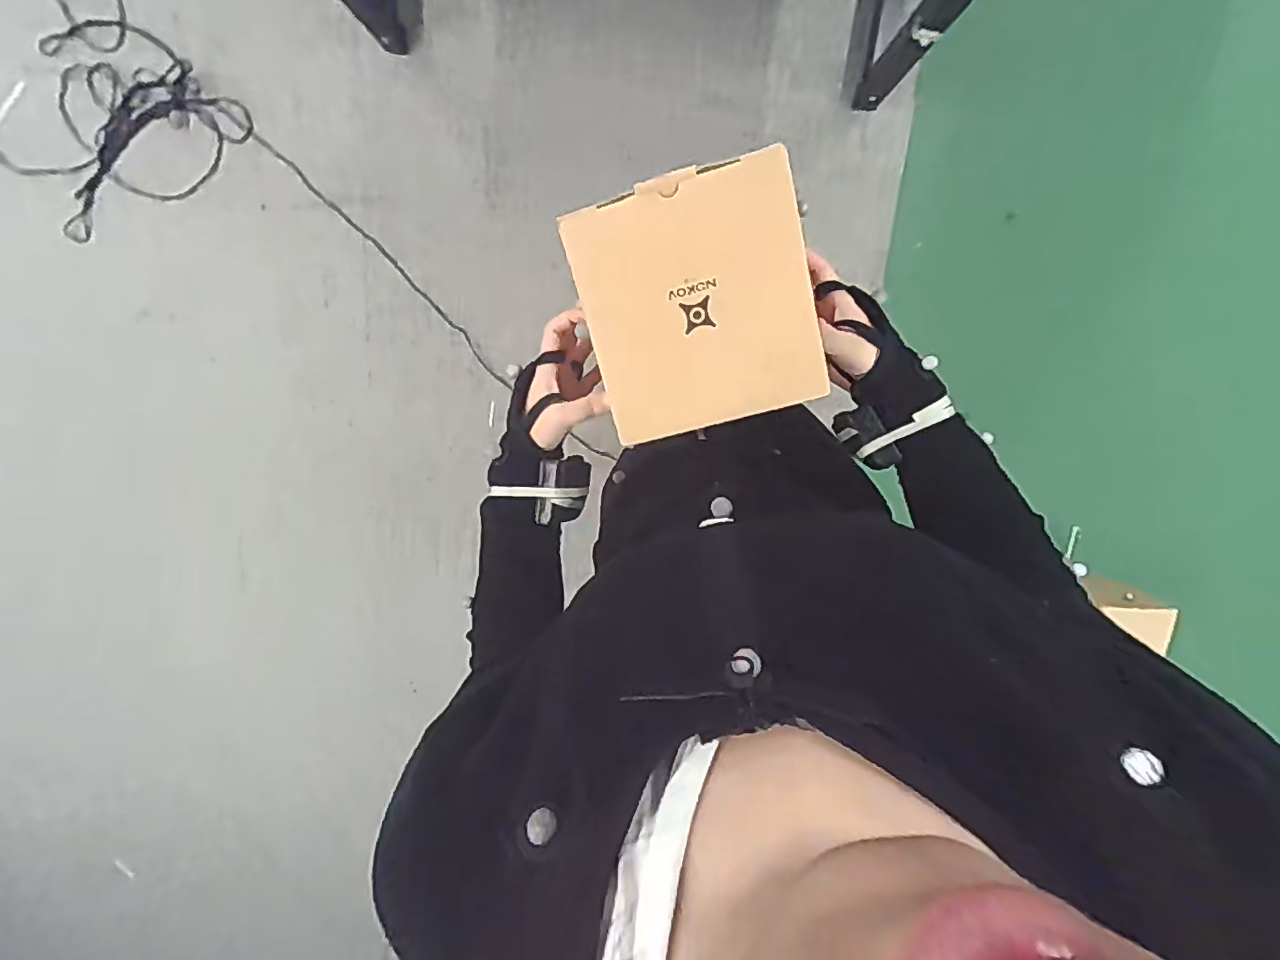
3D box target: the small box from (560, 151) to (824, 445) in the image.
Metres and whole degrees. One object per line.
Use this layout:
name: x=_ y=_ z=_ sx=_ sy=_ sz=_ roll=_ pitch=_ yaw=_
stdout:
small box: x=0.049 y=-0.147 z=0.474 sx=0.168 sy=0.176 sz=0.179 roll=-13 pitch=103 yaw=10

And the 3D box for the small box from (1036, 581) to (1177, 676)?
small box: x=1.116 y=0.353 z=1.308 sx=0.179 sy=0.176 sz=0.168 roll=2 pitch=102 yaw=0
